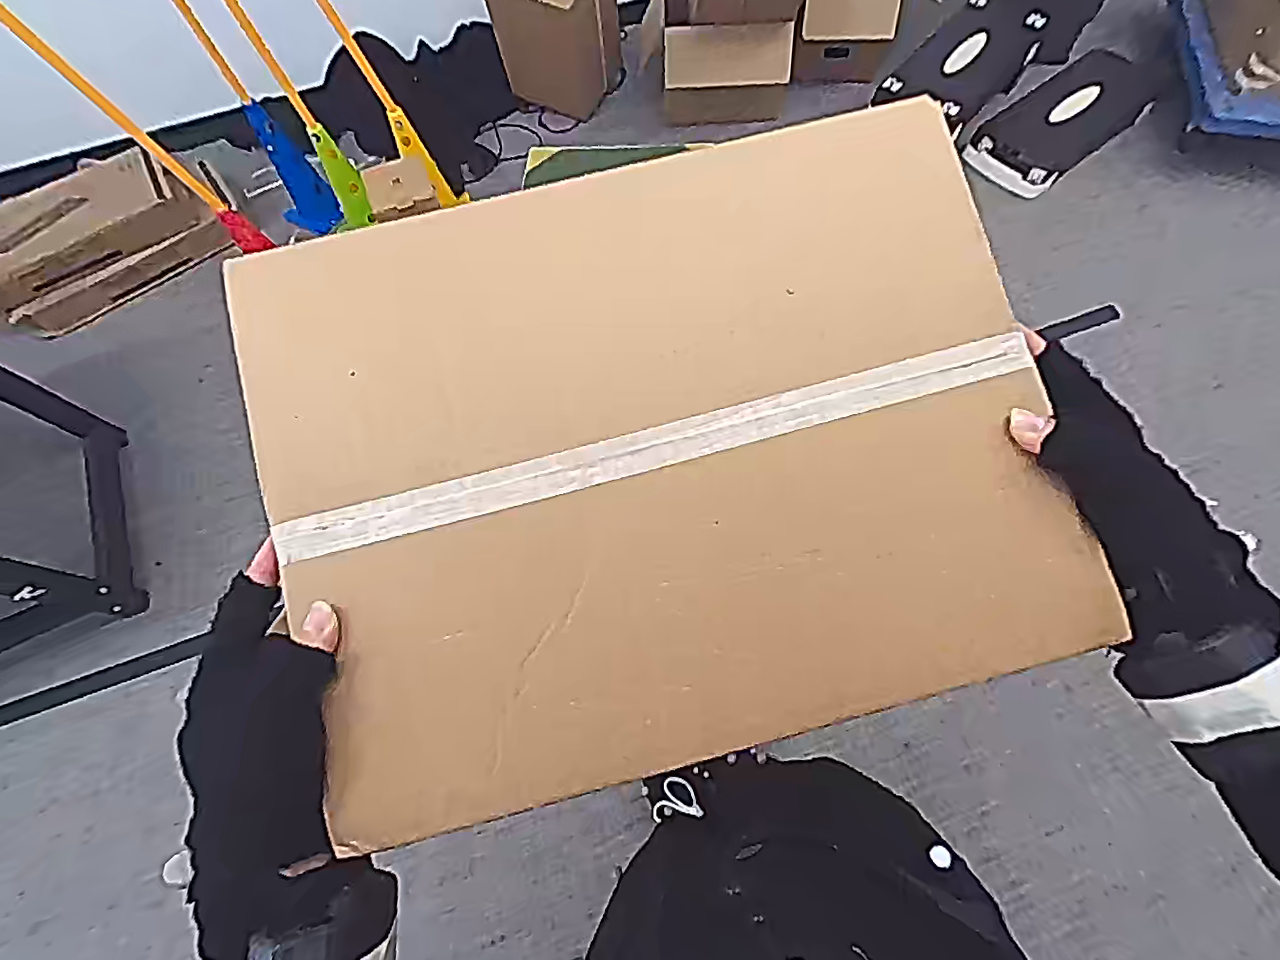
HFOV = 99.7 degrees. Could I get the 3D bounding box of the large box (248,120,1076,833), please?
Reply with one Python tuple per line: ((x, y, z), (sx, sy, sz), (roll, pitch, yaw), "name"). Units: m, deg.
((0.007, -0.002, 0.444), (0.408, 0.320, 0.320), (-15, 83, -3), "large box")
